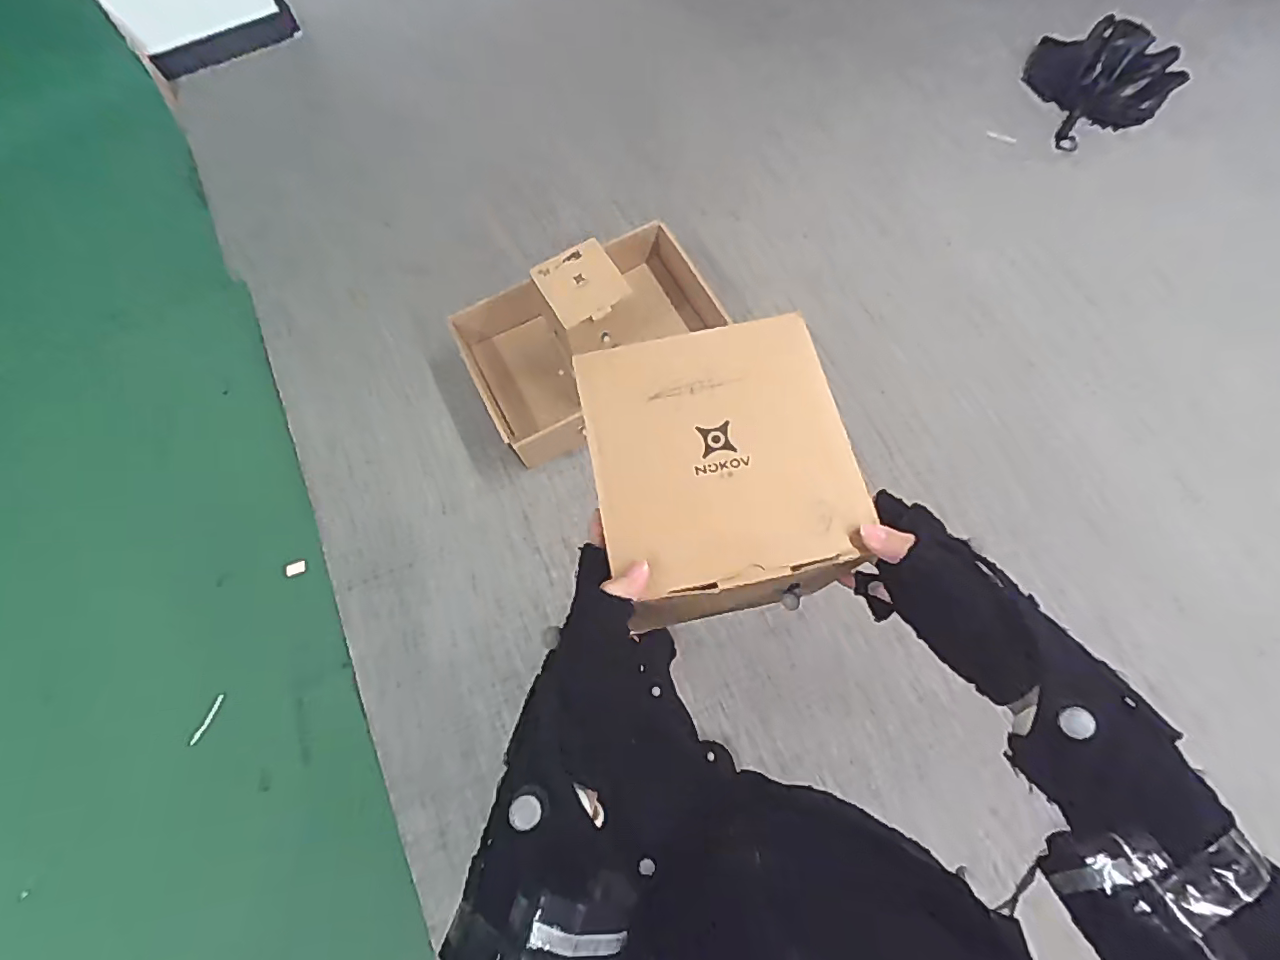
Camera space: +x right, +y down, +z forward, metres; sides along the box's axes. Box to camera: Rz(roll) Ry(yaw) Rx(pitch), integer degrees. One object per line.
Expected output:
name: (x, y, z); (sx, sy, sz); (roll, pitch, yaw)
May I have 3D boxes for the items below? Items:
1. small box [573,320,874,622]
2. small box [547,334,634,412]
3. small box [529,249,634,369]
small box: (0.051, 0.008, 0.429); (0.168, 0.176, 0.179); (-12, 68, -3)
small box: (-0.114, -0.297, 1.381); (0.179, 0.176, 0.168); (-26, 72, -6)
small box: (-0.123, -0.371, 1.217); (0.168, 0.176, 0.179); (-29, 74, -8)
